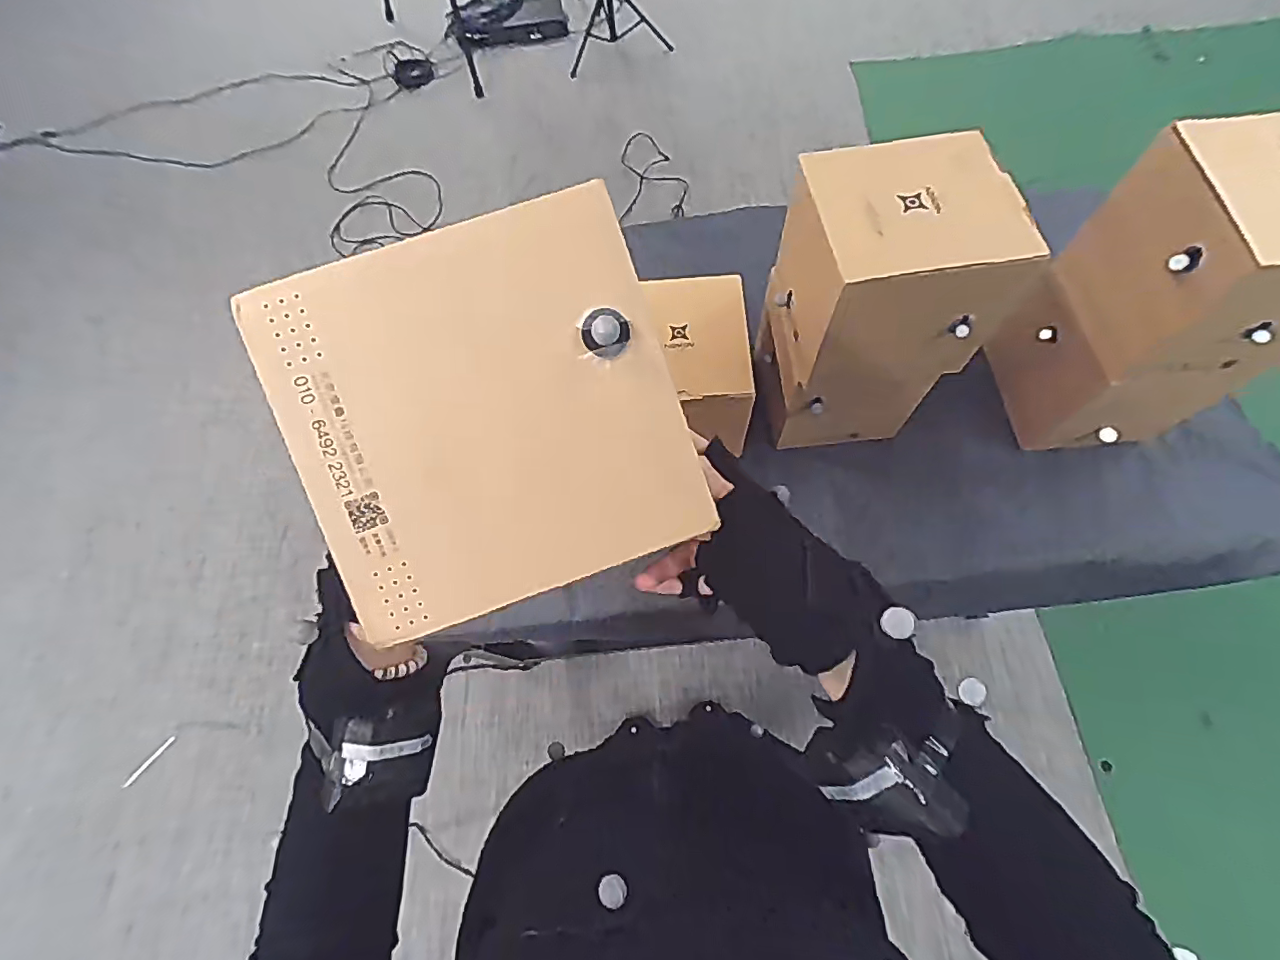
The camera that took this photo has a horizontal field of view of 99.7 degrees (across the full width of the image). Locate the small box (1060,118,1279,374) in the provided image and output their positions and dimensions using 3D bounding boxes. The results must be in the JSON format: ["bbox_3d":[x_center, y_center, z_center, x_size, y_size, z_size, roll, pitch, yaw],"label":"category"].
[{"bbox_3d":[0.574,-0.218,0.536,0.168,0.176,0.179,-3,66,3],"label":"small box"}]

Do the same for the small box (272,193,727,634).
[{"bbox_3d":[-0.071,-0.032,0.326,0.176,0.179,0.168,-20,94,-5],"label":"small box"}]

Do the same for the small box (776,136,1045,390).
[{"bbox_3d":[0.254,-0.213,0.559,0.179,0.176,0.168,-7,65,1],"label":"small box"}]
